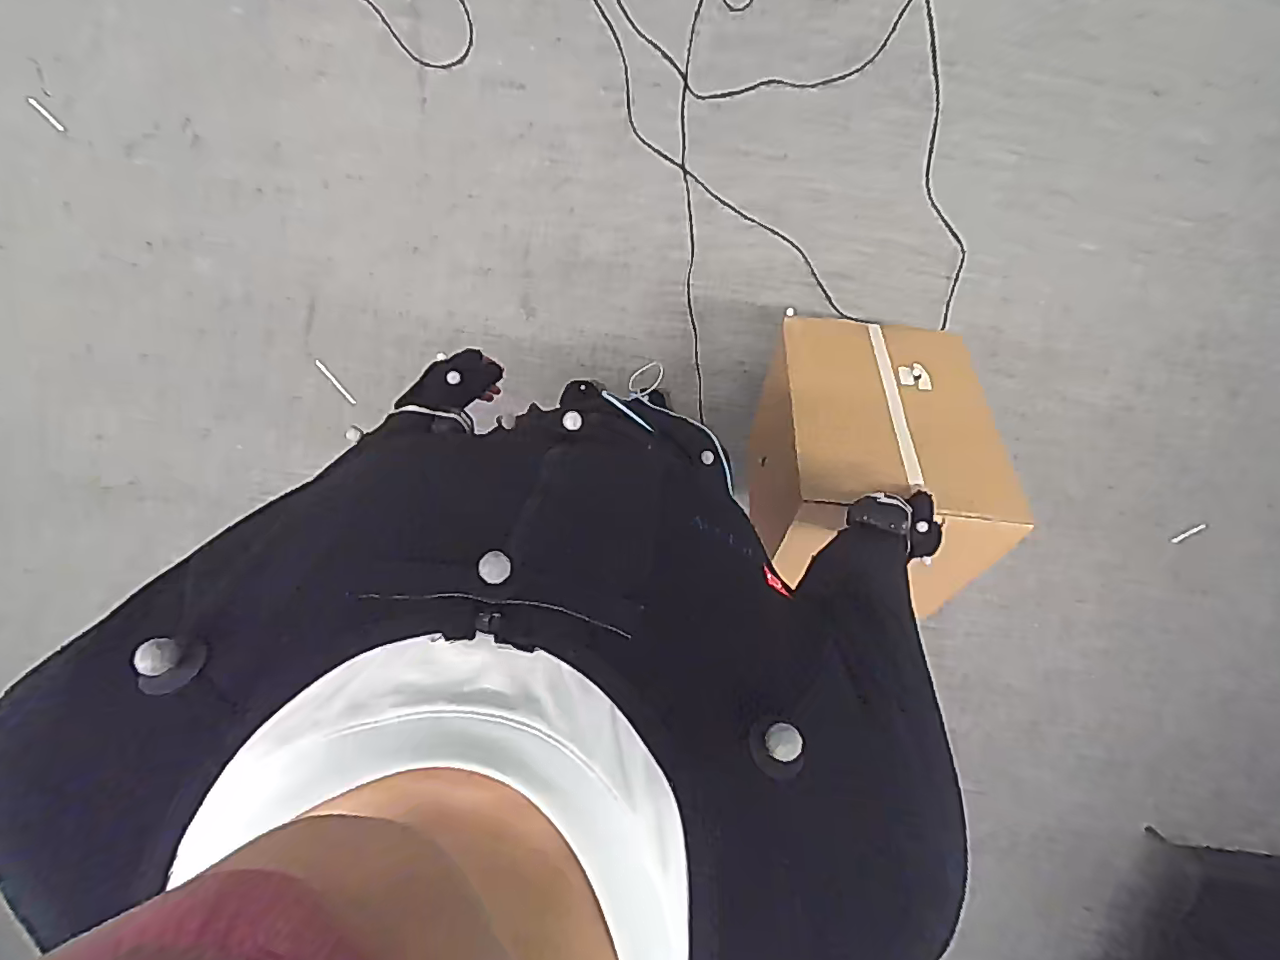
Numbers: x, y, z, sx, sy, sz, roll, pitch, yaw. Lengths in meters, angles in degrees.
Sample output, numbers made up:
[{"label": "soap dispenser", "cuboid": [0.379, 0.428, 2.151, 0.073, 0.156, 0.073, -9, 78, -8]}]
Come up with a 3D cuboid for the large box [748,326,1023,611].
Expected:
[{"label": "large box", "cuboid": [0.380, -0.018, 0.971, 0.320, 0.408, 0.320, 6, 142, 1]}]
